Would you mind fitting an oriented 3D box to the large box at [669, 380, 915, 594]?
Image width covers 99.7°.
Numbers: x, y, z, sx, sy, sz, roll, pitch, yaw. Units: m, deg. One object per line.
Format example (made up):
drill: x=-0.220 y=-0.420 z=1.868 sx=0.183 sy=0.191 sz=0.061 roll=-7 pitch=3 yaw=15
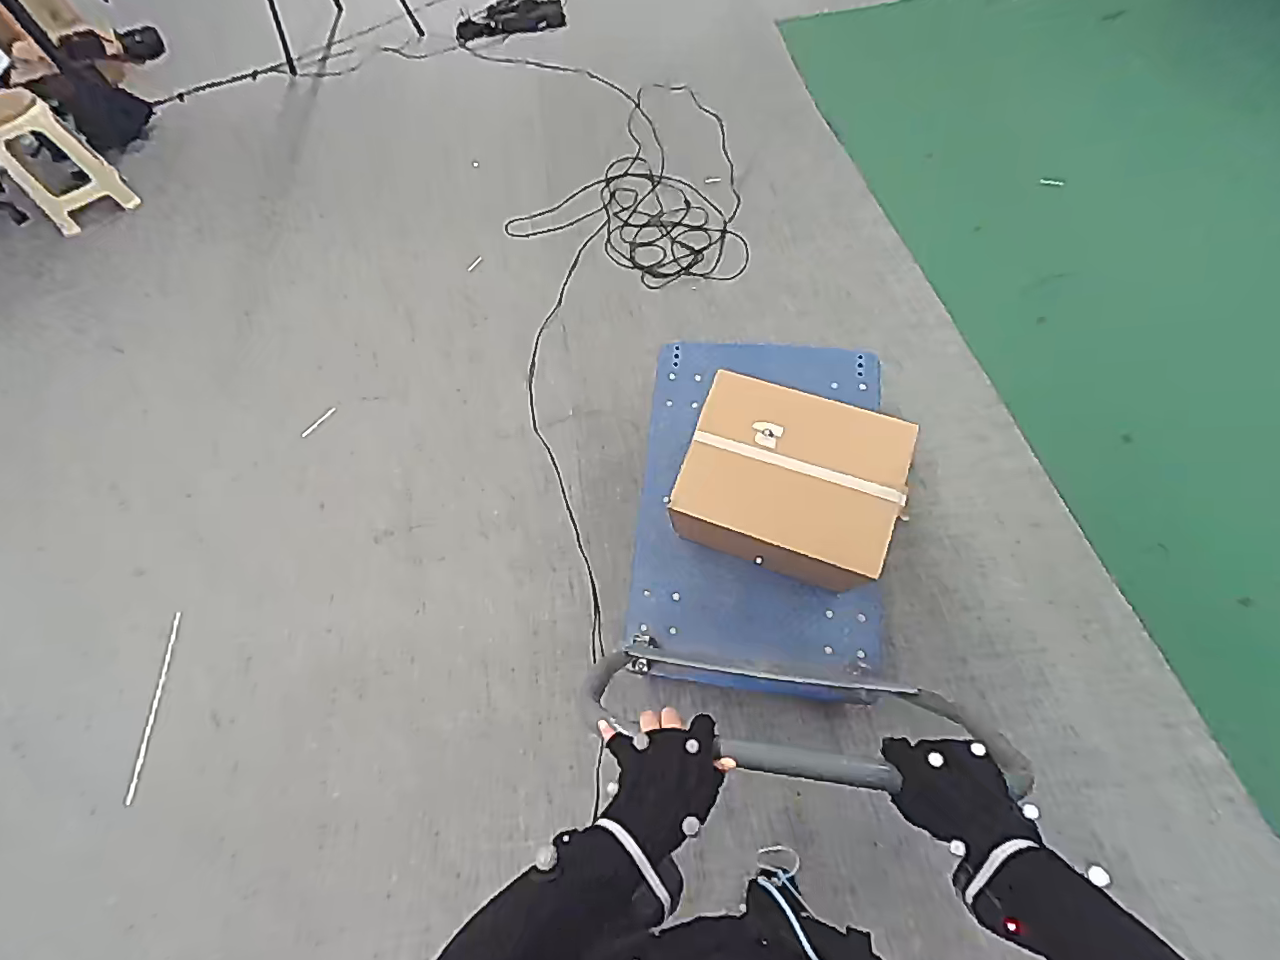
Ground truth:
large box: x=0.313 y=0.031 z=1.180 sx=0.408 sy=0.320 sz=0.320 roll=19 pitch=77 yaw=13
